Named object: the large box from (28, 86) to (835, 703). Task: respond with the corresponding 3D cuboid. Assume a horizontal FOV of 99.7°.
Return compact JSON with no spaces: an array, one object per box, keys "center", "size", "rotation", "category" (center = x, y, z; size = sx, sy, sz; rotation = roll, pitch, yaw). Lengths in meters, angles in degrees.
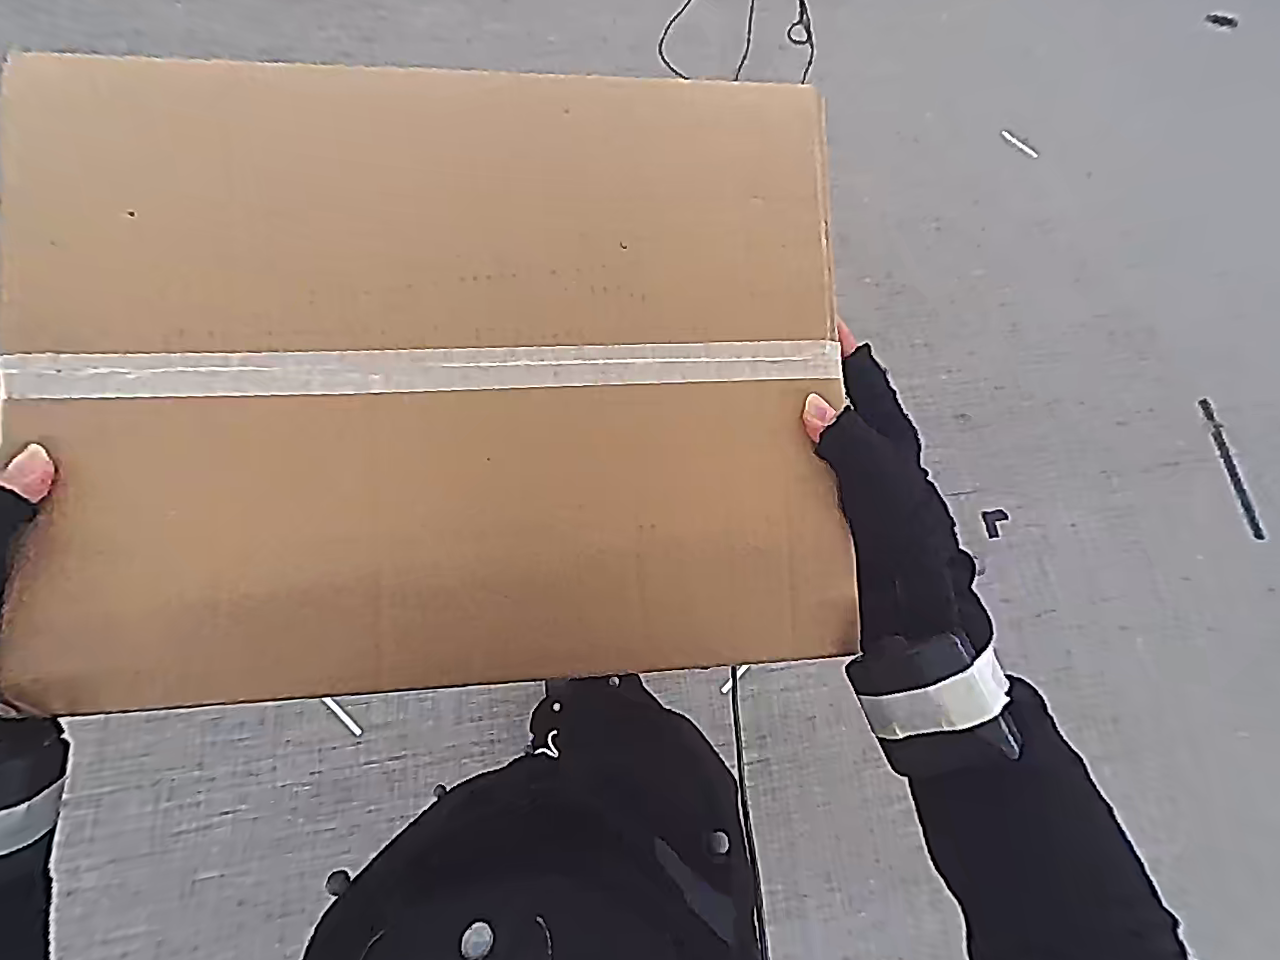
[{"center":[-0.109,-0.047,0.432],"size":[0.408,0.320,0.320],"rotation":[-2,86,-6],"category":"large box"}]
